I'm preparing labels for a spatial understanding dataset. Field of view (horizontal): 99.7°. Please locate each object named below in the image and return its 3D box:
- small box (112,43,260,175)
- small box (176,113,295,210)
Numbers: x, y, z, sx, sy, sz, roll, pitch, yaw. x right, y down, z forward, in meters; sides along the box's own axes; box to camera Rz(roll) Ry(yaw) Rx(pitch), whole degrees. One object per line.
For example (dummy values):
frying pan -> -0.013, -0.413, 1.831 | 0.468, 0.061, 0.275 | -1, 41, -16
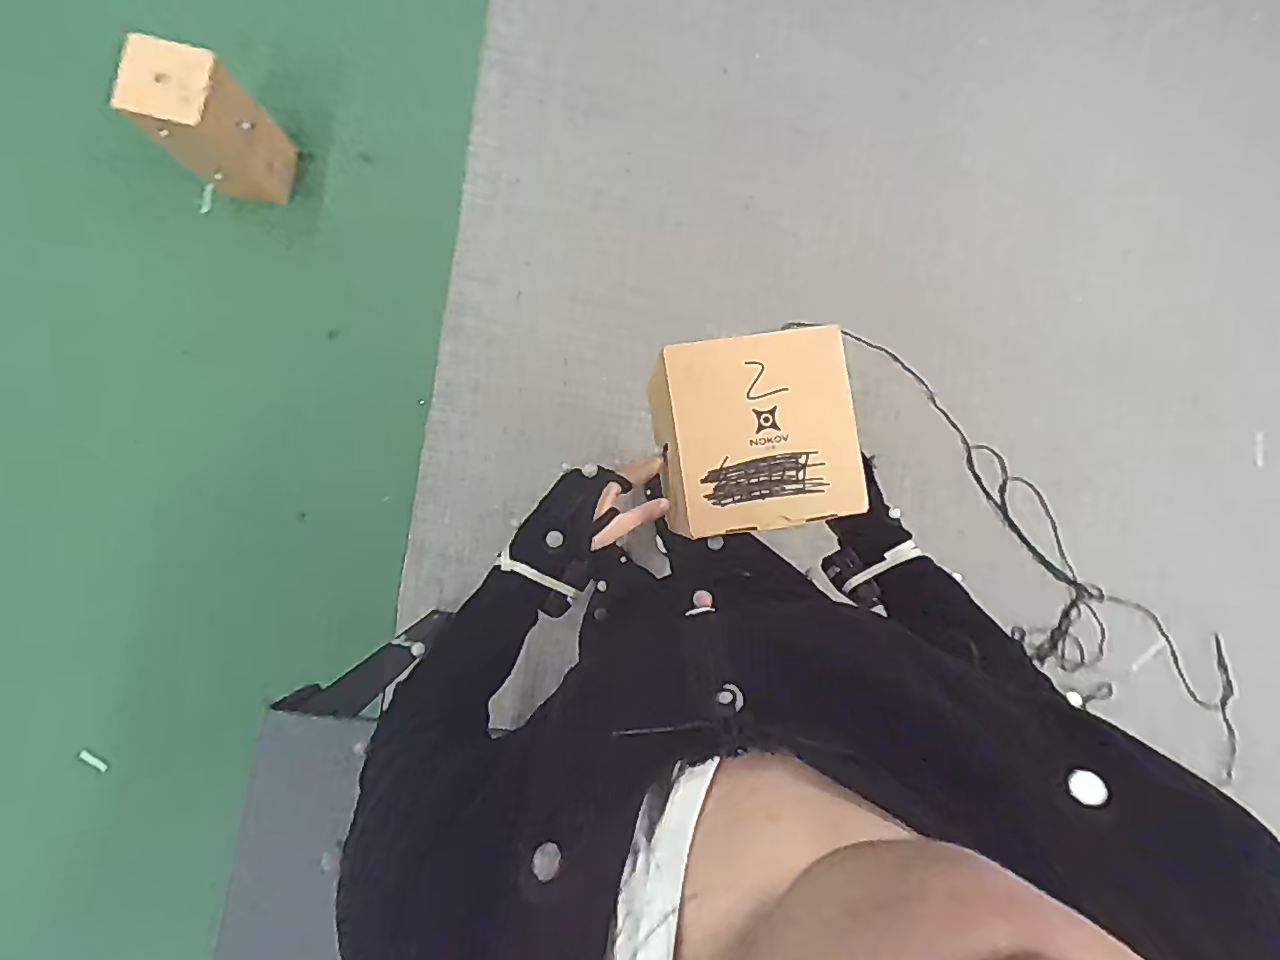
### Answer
small box -> -1.011, -0.823, 1.219 | 0.179, 0.176, 0.168 | 11, 88, -4
small box -> -1.023, -0.821, 1.384 | 0.179, 0.176, 0.168 | 9, 87, -3
